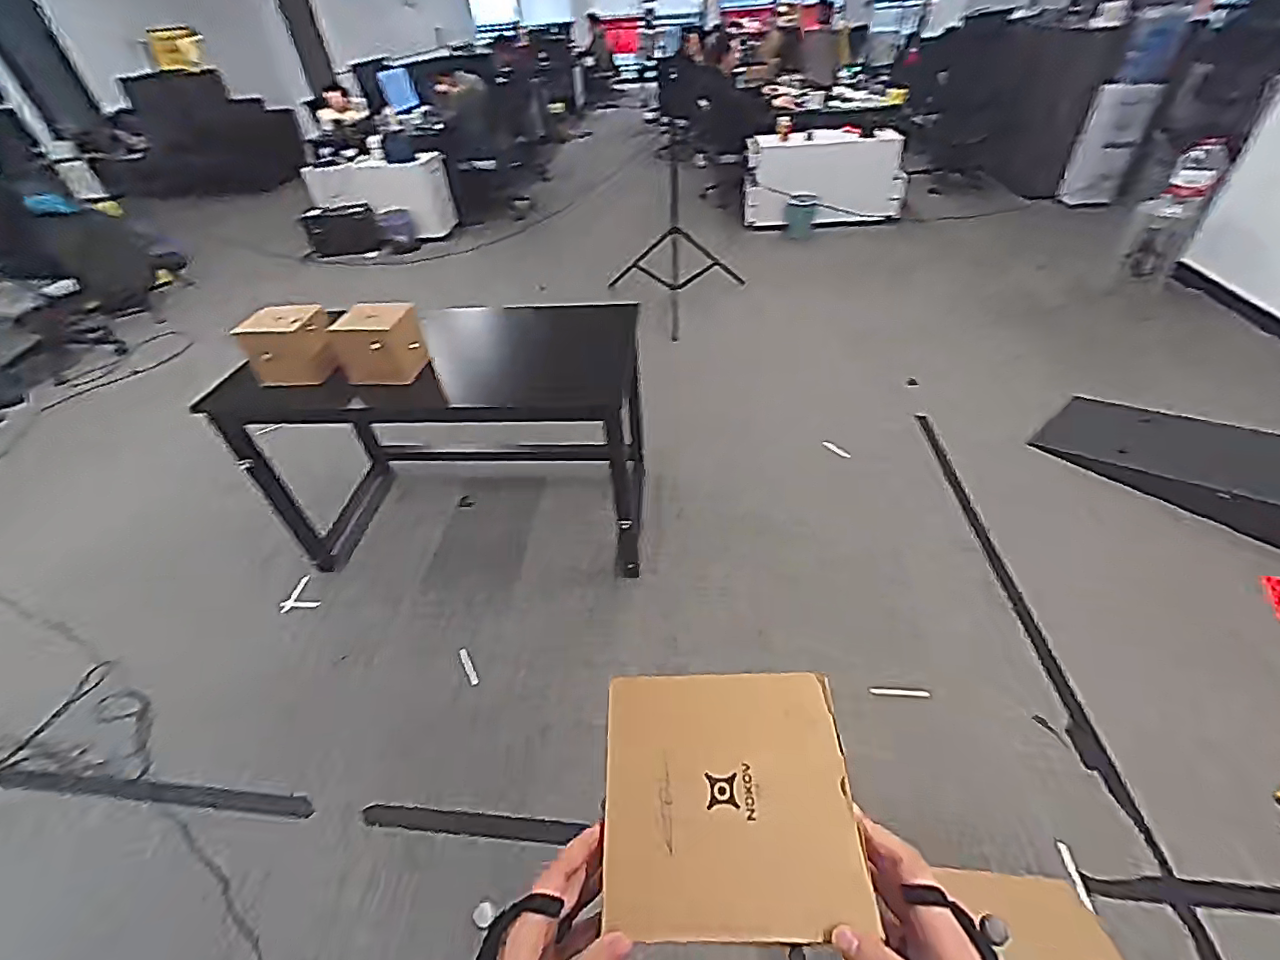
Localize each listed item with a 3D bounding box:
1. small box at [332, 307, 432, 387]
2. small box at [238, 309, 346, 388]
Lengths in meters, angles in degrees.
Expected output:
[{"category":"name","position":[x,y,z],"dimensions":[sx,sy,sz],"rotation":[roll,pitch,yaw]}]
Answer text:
[{"category":"small box","position":[-0.719,-0.376,1.534],"dimensions":[0.179,0.176,0.168],"rotation":[1,41,7]},{"category":"small box","position":[-0.991,-0.377,1.562],"dimensions":[0.179,0.176,0.168],"rotation":[-1,42,4]}]
